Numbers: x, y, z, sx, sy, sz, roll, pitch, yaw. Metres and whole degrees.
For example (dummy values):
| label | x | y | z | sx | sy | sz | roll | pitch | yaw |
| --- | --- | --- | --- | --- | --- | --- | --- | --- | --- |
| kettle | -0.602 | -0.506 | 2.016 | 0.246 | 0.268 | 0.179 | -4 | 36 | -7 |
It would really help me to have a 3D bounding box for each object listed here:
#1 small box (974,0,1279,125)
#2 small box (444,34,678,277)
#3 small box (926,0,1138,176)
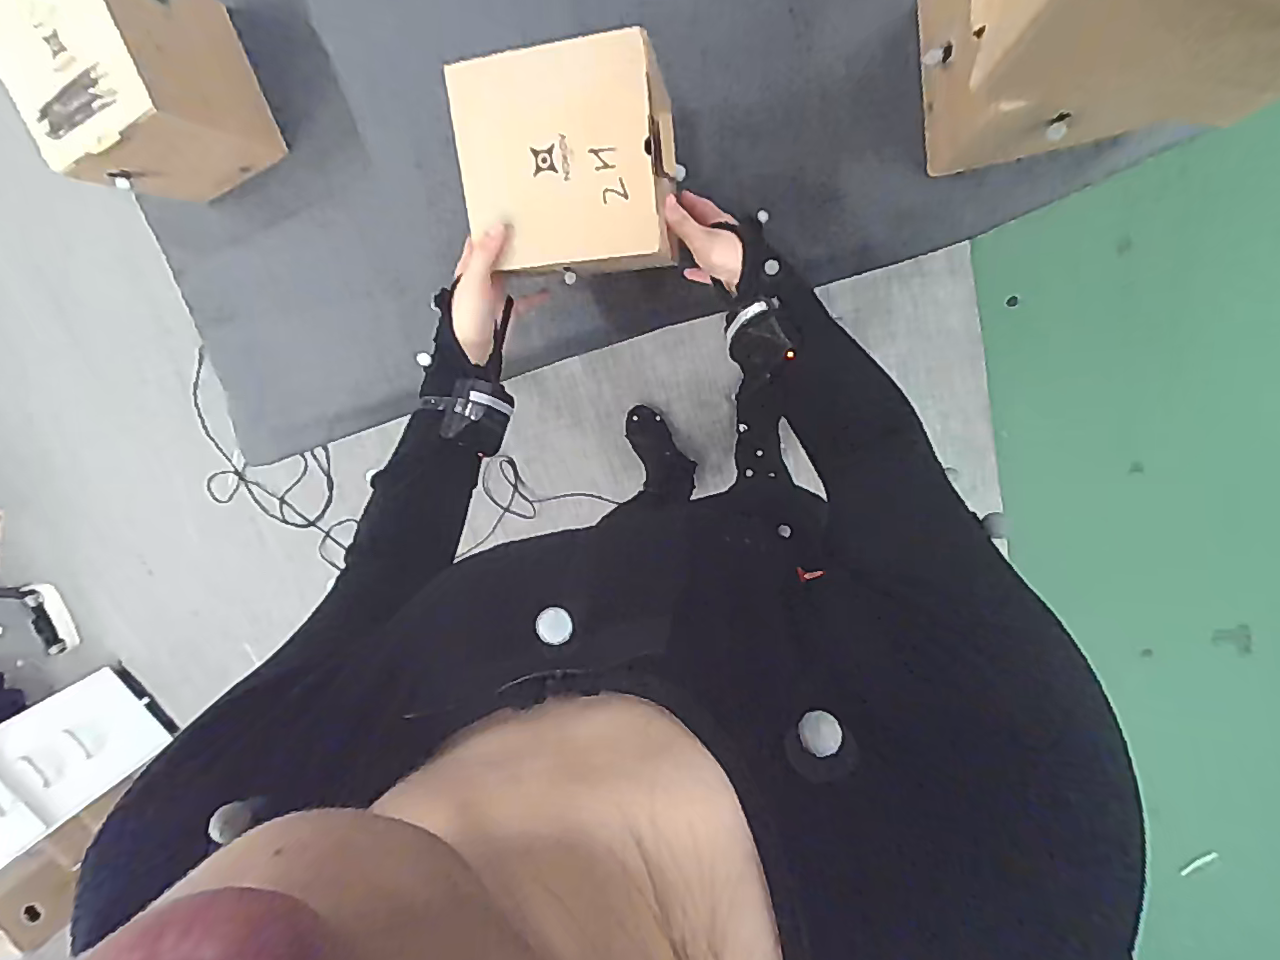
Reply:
| label | x | y | z | sx | sy | sz | roll | pitch | yaw |
| --- | --- | --- | --- | --- | --- | --- | --- | --- | --- |
| small box | 0.319 | -0.319 | 0.290 | 0.179 | 0.176 | 0.168 | 13 | 107 | 9 |
| small box | -0.060 | -0.293 | 0.531 | 0.179 | 0.176 | 0.168 | -1 | 110 | 10 |
| small box | 0.347 | -0.375 | 0.441 | 0.179 | 0.176 | 0.168 | -7 | 103 | 15 |
